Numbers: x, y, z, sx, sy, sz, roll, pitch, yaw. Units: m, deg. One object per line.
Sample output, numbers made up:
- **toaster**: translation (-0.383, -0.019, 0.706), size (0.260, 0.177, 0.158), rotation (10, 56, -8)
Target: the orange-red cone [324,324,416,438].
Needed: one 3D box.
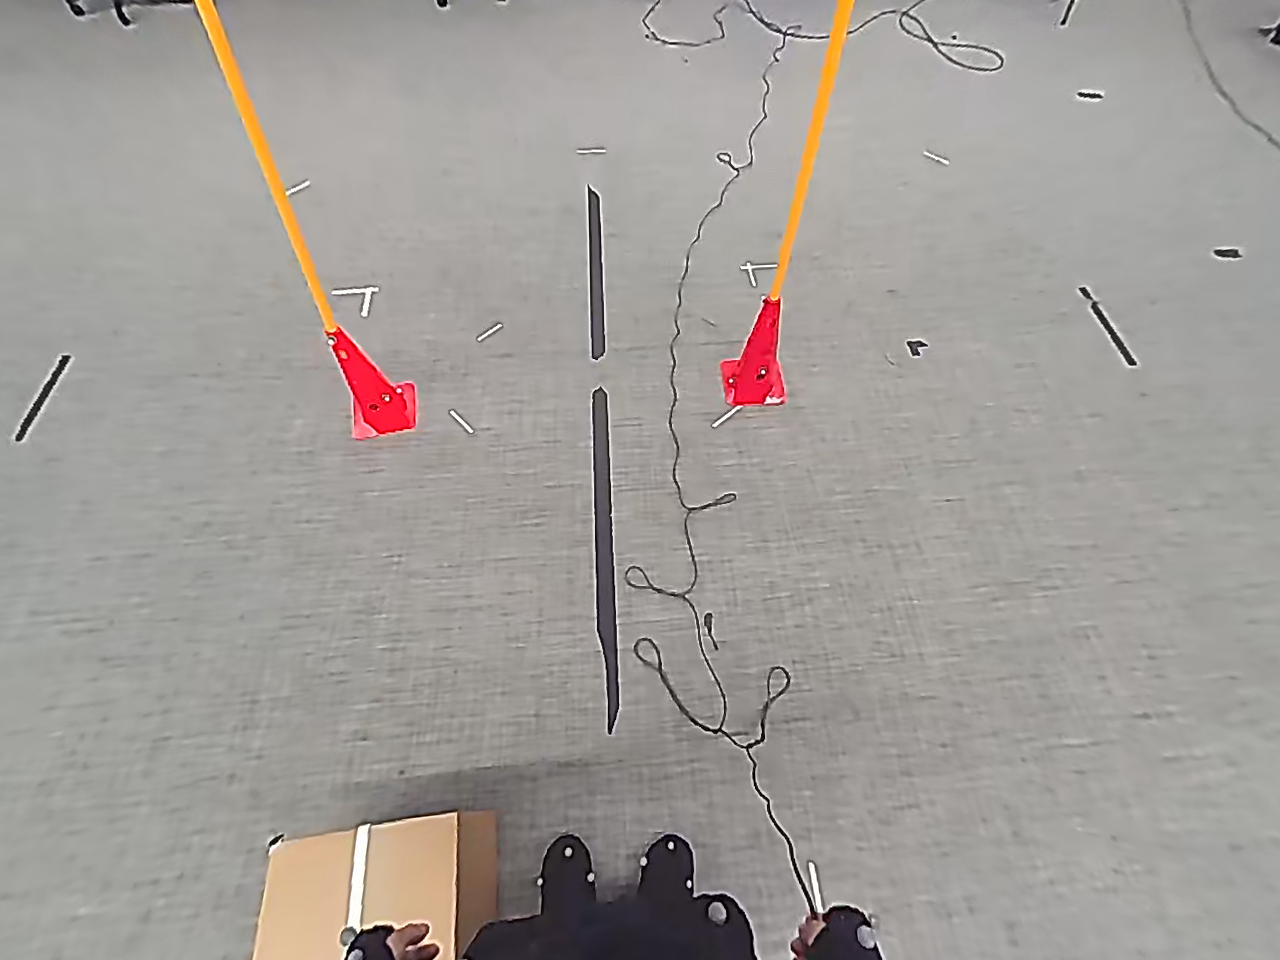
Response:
- **orange-red cone**: translation (-0.828, -0.313, 1.597), size (0.199, 0.360, 0.198), rotation (-12, 59, -6)
